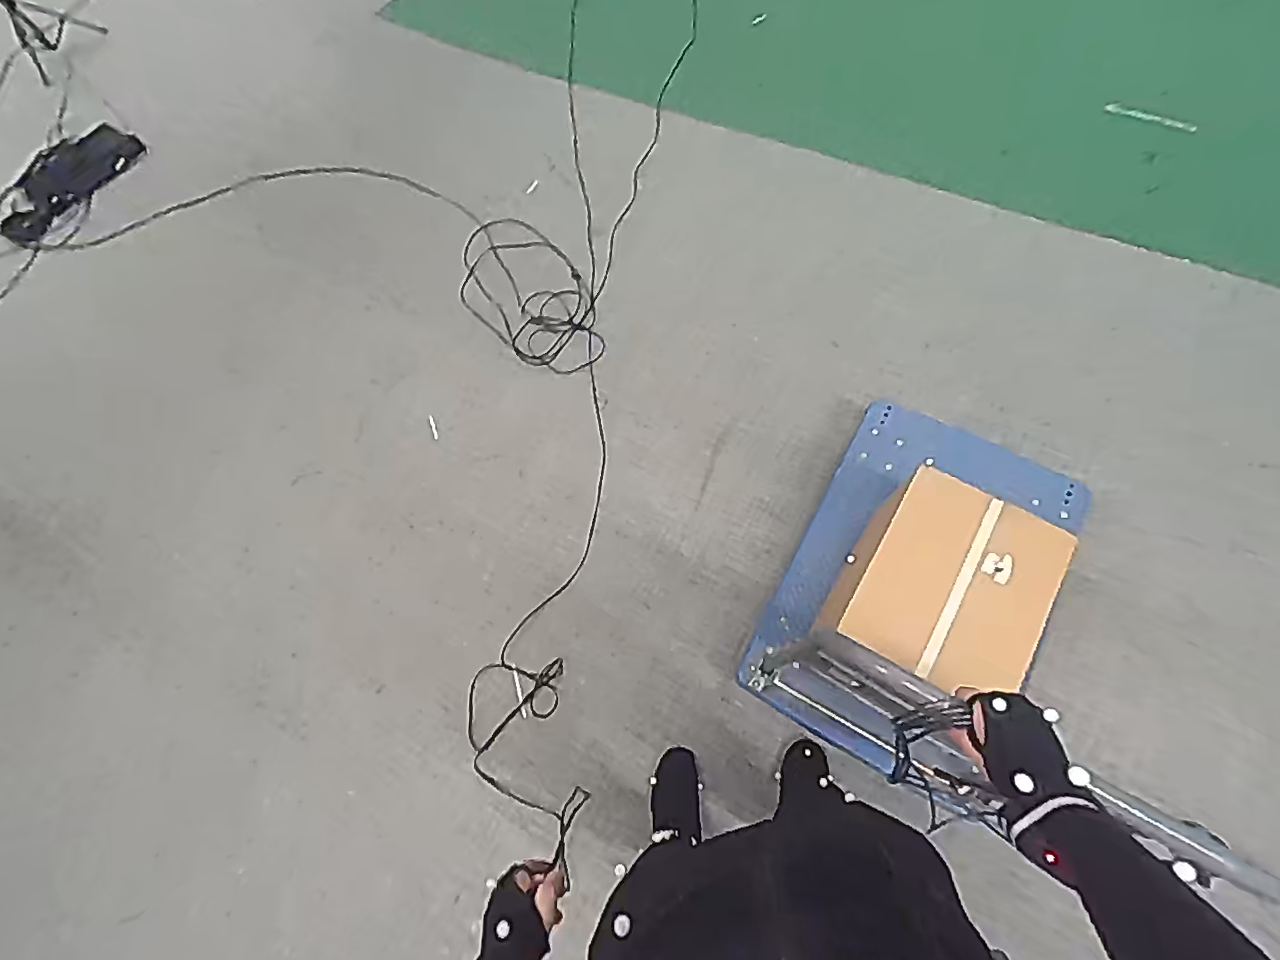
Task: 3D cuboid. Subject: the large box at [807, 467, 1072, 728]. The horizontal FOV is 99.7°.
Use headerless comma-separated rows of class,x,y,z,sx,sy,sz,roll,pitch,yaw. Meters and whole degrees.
large box,0.606,0.257,1.152,0.320,0.320,0.408,30,73,14
